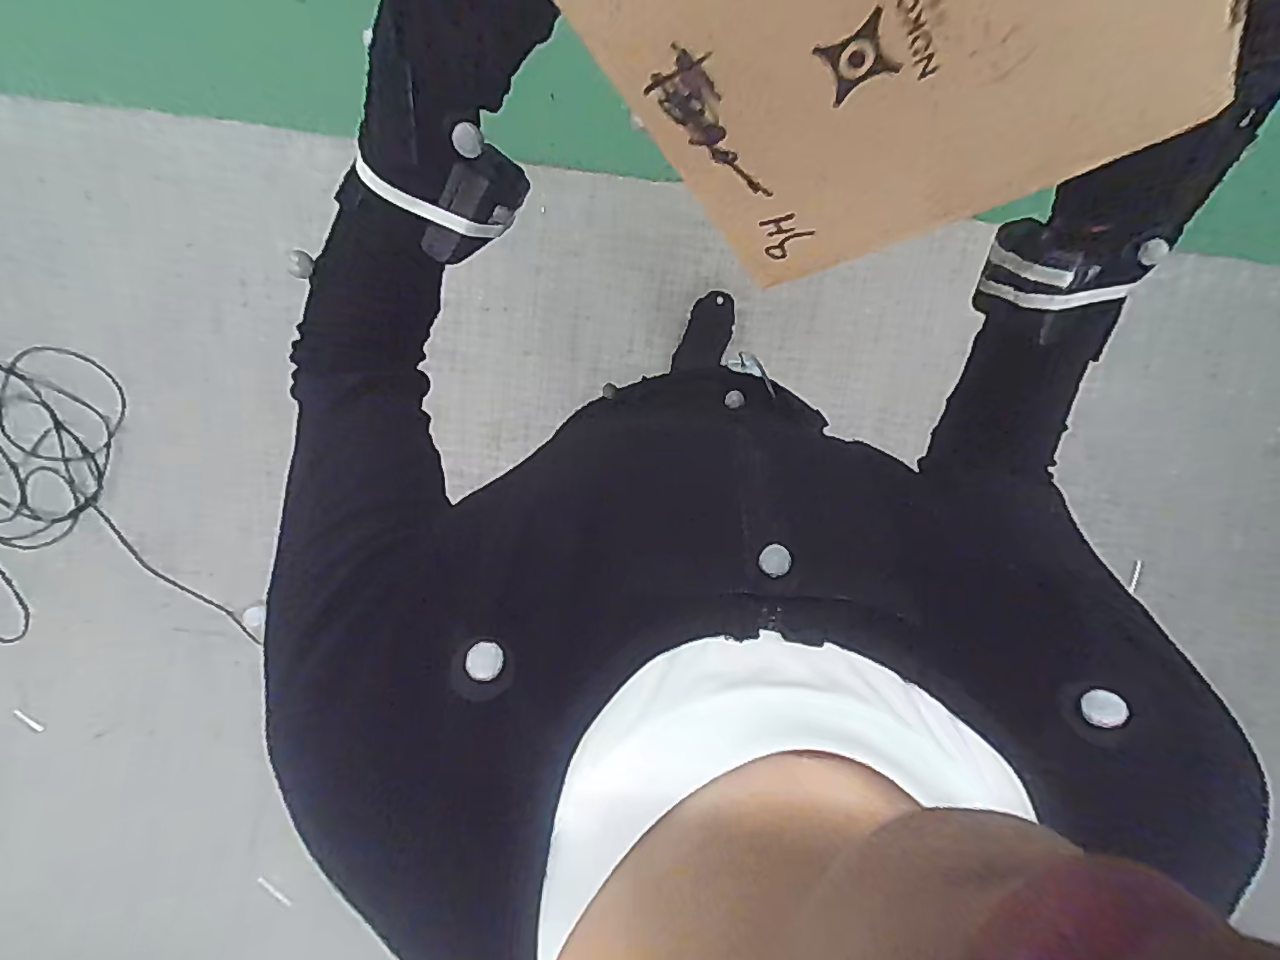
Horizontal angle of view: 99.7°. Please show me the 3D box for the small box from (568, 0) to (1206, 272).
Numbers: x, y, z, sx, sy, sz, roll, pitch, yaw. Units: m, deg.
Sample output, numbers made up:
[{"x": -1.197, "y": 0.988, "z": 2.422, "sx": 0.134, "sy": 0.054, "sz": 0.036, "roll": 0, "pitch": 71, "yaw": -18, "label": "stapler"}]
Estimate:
[{"x": 0.096, "y": -0.231, "z": 0.223, "sx": 0.168, "sy": 0.179, "sz": 0.176, "roll": 34, "pitch": 58, "yaw": -43, "label": "small box"}]
